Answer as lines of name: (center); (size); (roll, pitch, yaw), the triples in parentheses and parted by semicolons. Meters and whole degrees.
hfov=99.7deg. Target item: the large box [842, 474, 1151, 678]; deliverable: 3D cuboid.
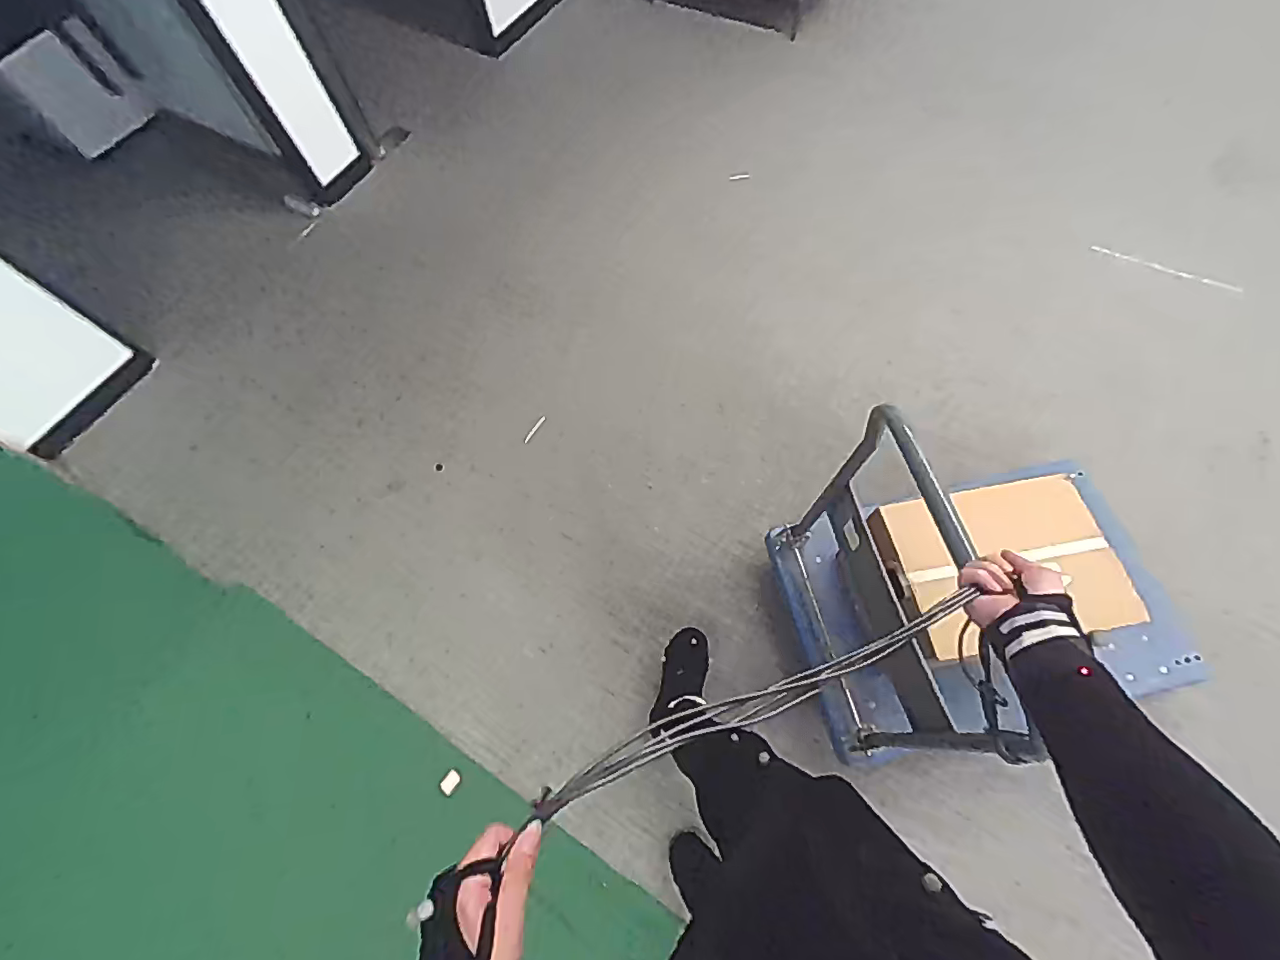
large box: (0.720, 0.221, 1.176); (0.408, 0.320, 0.320); (-10, 65, -2)
